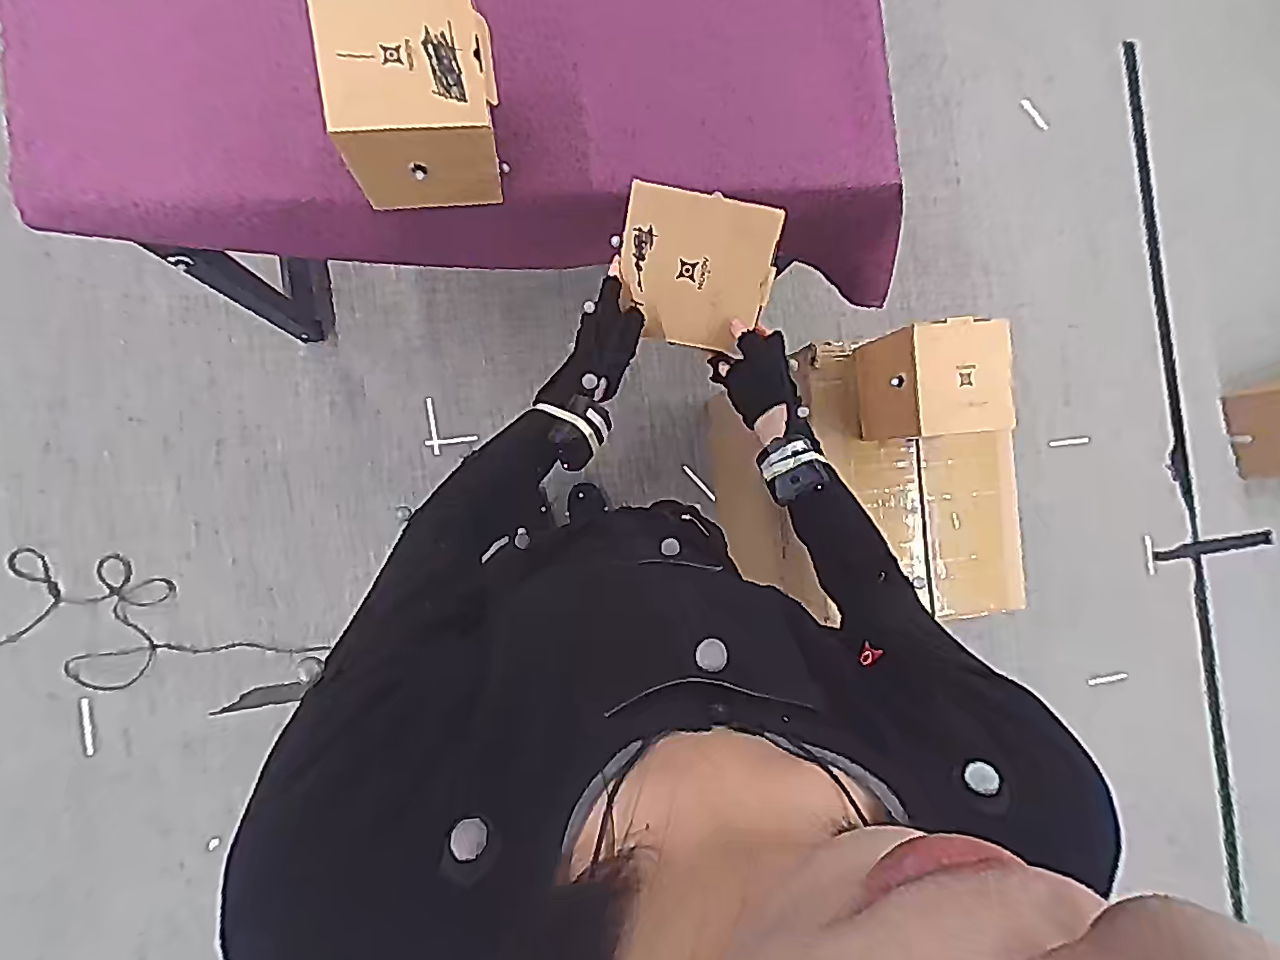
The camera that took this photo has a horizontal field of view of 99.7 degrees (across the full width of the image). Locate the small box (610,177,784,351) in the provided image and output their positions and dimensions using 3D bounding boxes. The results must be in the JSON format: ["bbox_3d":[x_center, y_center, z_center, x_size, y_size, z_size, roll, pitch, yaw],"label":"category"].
[{"bbox_3d":[0.062,-0.273,0.698,0.179,0.176,0.168,9,110,-4],"label":"small box"}]

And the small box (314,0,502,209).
[{"bbox_3d":[-0.273,-0.464,0.677,0.179,0.176,0.168,-8,89,-9],"label":"small box"}]

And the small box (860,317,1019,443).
[{"bbox_3d":[0.490,-0.159,0.906,0.168,0.176,0.179,-6,92,-8],"label":"small box"}]
